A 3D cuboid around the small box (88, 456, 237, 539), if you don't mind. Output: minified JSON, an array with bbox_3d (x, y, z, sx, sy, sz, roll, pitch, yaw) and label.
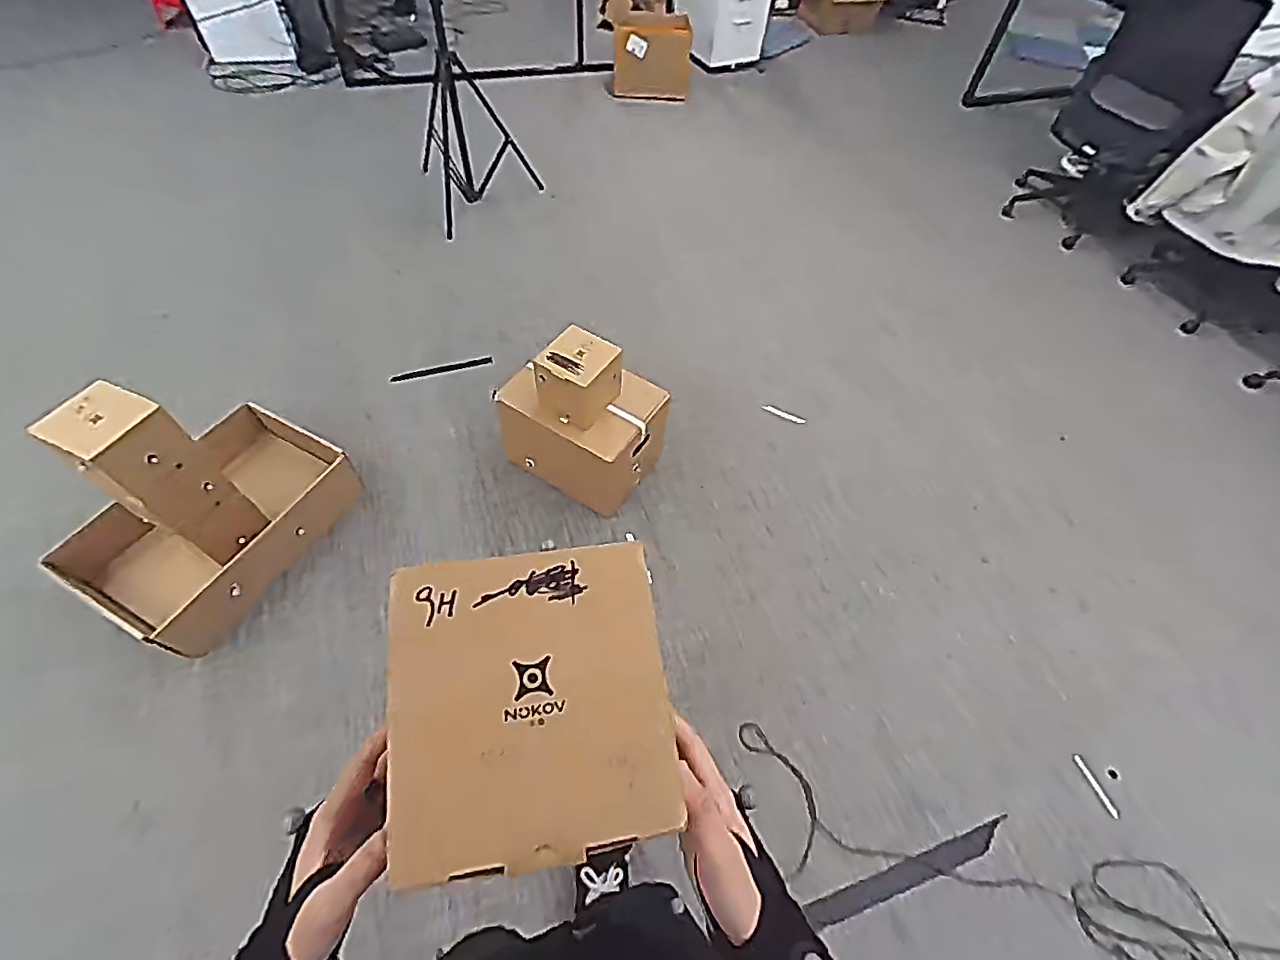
[{"bbox_3d":[-1.149,0.022,1.321,0.179,0.176,0.168,21,56,11],"label":"small box"}]

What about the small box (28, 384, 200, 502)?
[{"bbox_3d":[-1.135,-0.074,1.187,0.179,0.176,0.168,21,55,9],"label":"small box"}]

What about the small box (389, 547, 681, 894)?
[{"bbox_3d":[-0.077,0.162,0.404,0.168,0.176,0.179,-6,69,-11],"label":"small box"}]

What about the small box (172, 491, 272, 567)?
[{"bbox_3d":[-1.155,0.109,1.457,0.179,0.176,0.168,25,58,12],"label":"small box"}]
